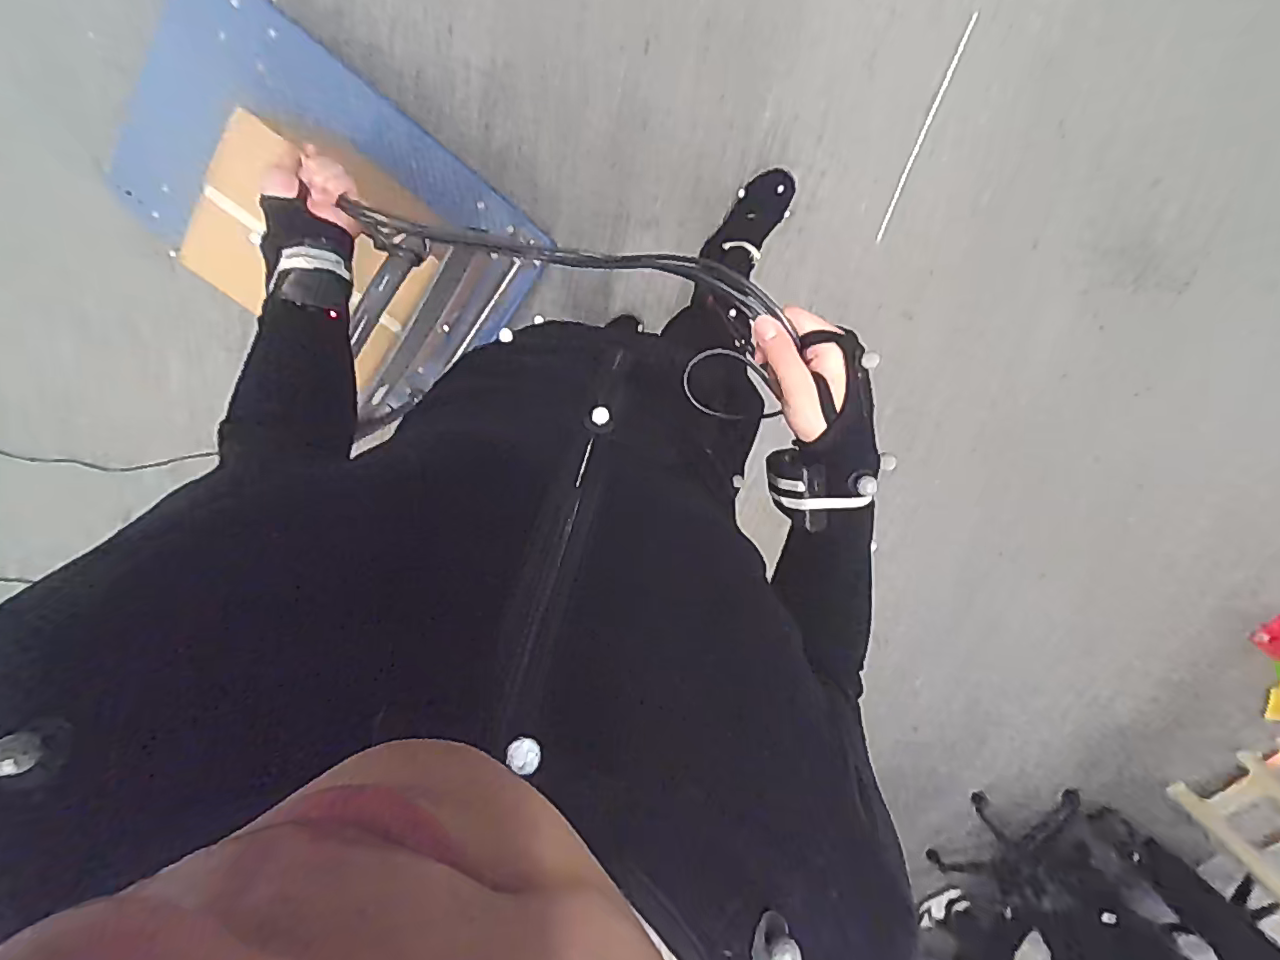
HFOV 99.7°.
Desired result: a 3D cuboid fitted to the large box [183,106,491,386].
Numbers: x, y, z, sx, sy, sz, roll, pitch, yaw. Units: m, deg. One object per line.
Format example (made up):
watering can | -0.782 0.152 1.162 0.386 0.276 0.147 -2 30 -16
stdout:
large box | -0.593 -0.466 1.126 0.408 0.320 0.320 37 110 -13
